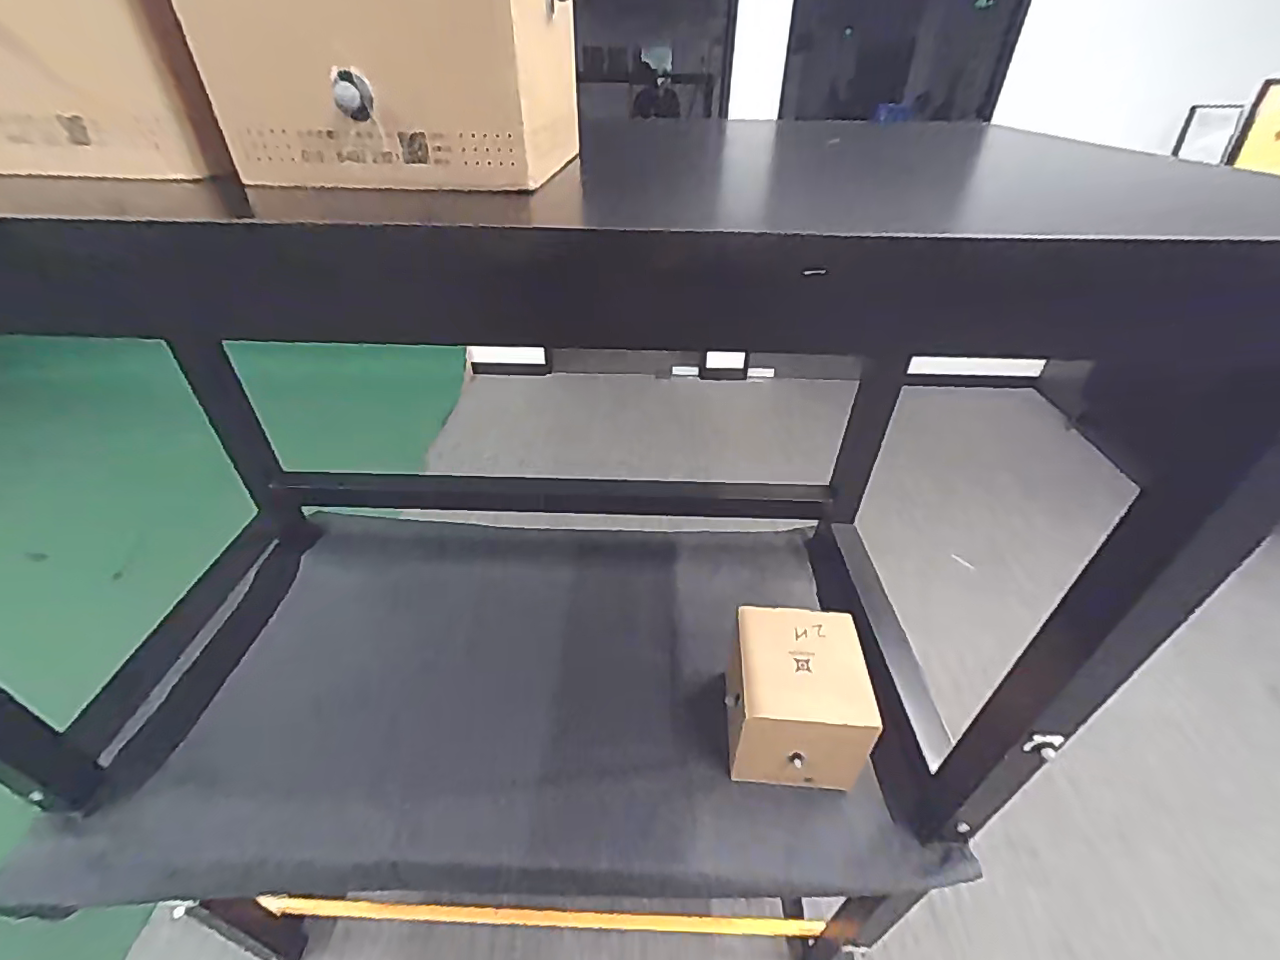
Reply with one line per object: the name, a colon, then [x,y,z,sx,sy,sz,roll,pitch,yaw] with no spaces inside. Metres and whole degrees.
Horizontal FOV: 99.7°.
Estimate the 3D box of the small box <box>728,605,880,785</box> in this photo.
small box: [0.218,0.305,0.770,0.168,0.176,0.179,4,37,3]
